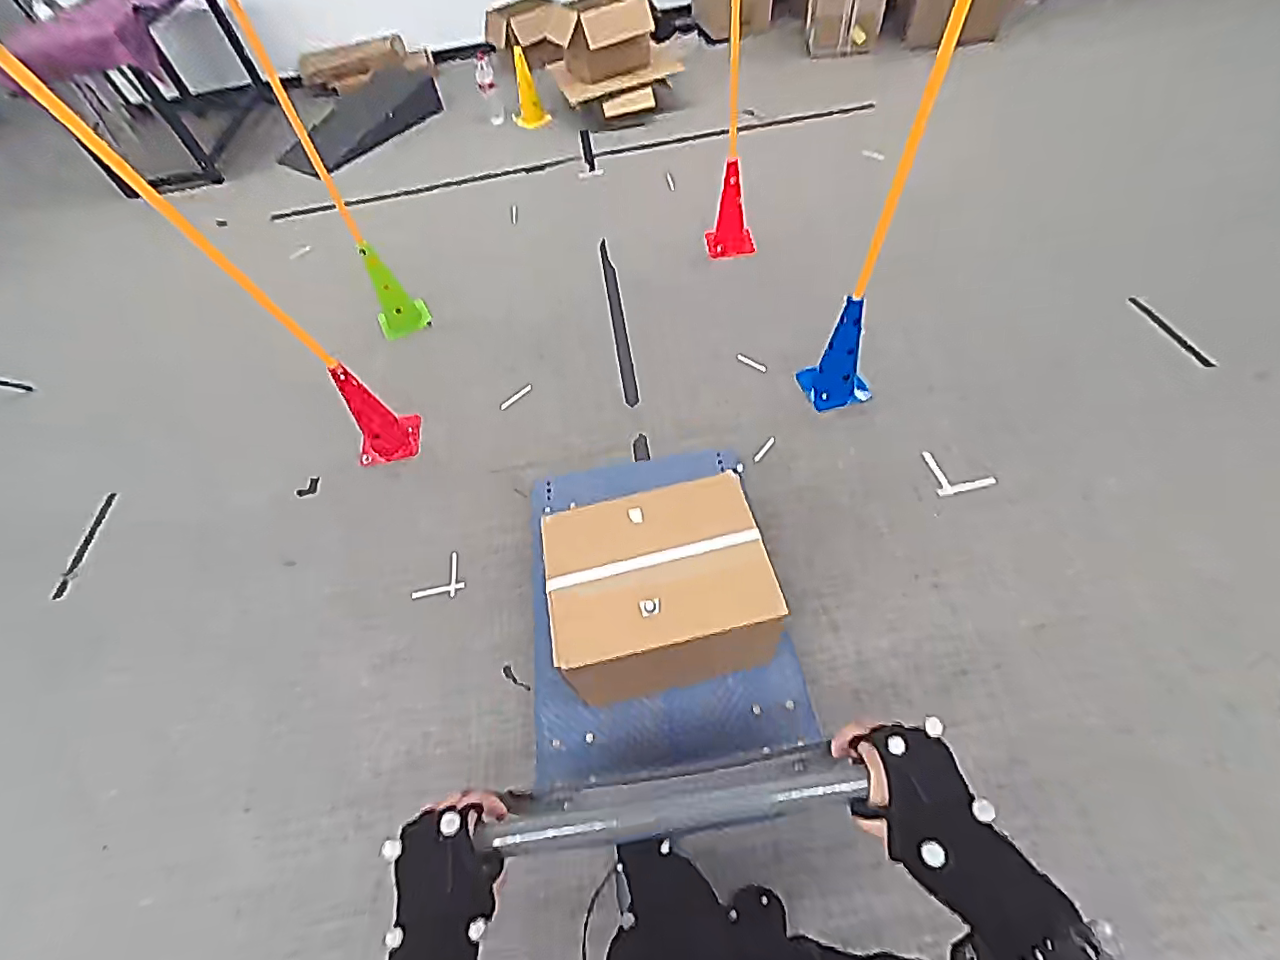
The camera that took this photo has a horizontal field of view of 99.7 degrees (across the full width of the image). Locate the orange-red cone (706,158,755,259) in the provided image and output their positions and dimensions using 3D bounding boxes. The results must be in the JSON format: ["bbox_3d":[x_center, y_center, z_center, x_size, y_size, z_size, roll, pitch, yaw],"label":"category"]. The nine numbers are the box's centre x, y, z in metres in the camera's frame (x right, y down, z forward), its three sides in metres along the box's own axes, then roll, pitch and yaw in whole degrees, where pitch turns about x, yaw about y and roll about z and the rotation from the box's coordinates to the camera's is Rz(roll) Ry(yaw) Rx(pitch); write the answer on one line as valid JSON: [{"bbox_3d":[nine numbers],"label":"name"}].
[{"bbox_3d":[0.380,-1.128,2.221,0.199,0.360,0.198,-4,55,3],"label":"orange-red cone"}]

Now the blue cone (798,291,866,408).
[{"bbox_3d":[0.640,-0.419,1.712,0.193,0.380,0.192,-13,54,-3],"label":"blue cone"}]
